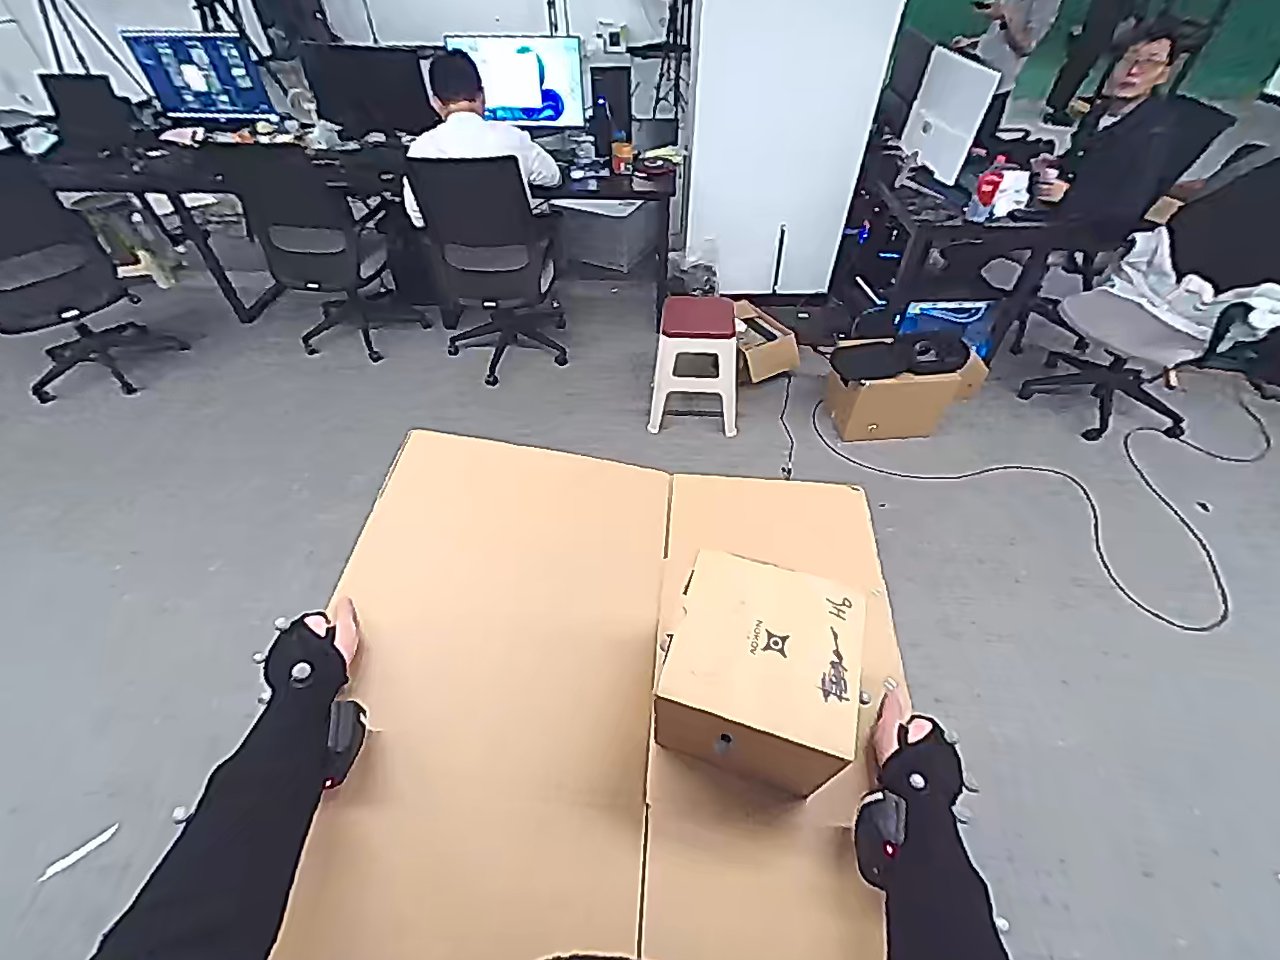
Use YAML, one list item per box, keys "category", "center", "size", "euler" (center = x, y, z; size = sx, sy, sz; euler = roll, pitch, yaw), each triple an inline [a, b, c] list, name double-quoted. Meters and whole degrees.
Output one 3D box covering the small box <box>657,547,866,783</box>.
- category: "small box"
  center: [0.126, 0.201, 0.582]
  size: [0.179, 0.176, 0.168]
  euler: [13, 52, 13]
